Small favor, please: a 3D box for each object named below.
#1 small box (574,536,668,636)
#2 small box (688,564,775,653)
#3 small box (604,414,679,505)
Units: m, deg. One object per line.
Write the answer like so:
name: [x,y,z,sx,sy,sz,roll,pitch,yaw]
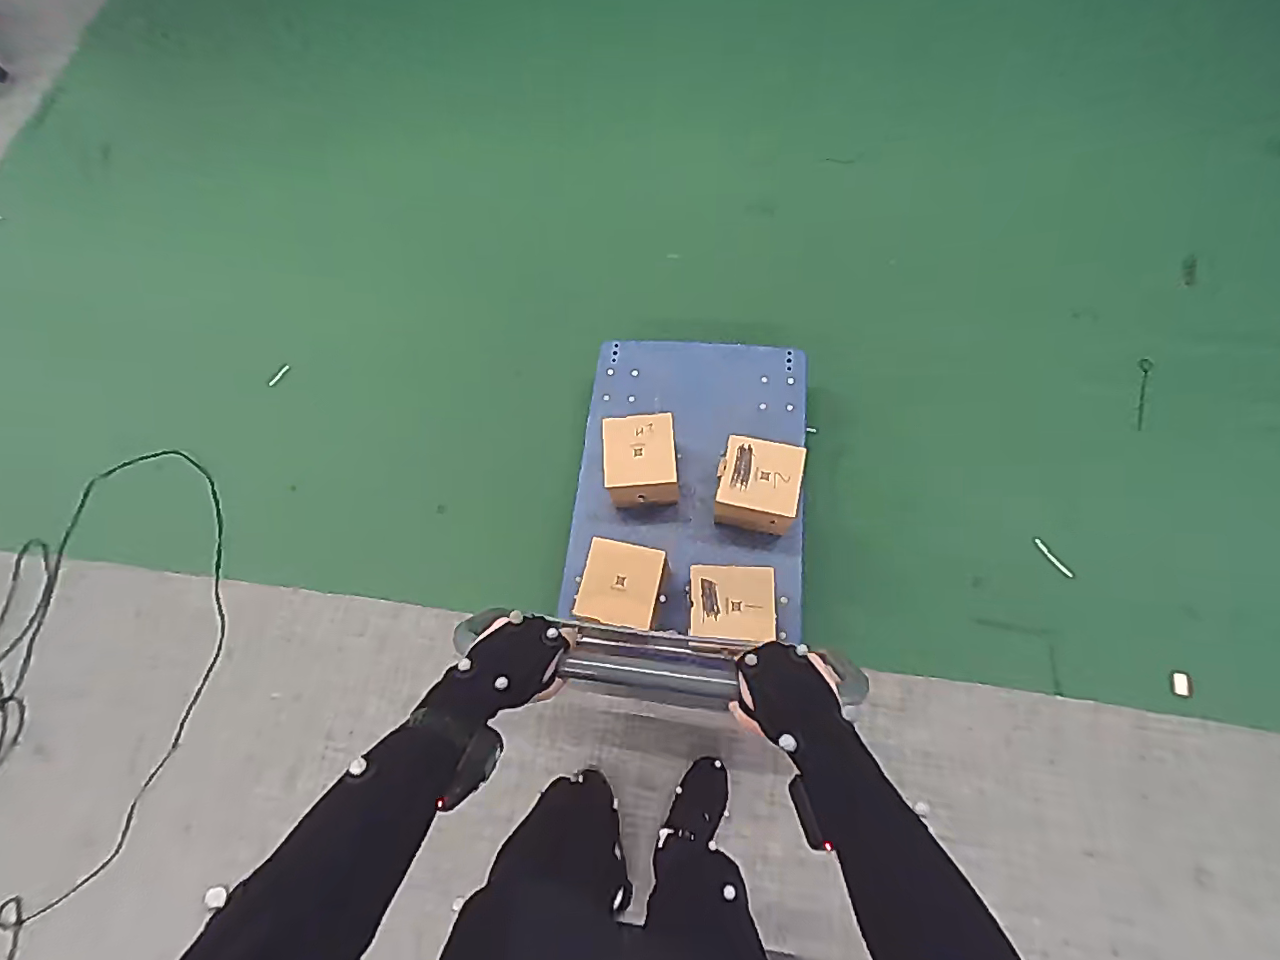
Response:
small box: [-0.035,0.244,1.217,0.168,0.176,0.179,11,73,9]
small box: [0.195,0.284,1.177,0.179,0.176,0.168,2,71,6]
small box: [0.007,-0.042,1.314,0.168,0.176,0.179,-4,70,4]
